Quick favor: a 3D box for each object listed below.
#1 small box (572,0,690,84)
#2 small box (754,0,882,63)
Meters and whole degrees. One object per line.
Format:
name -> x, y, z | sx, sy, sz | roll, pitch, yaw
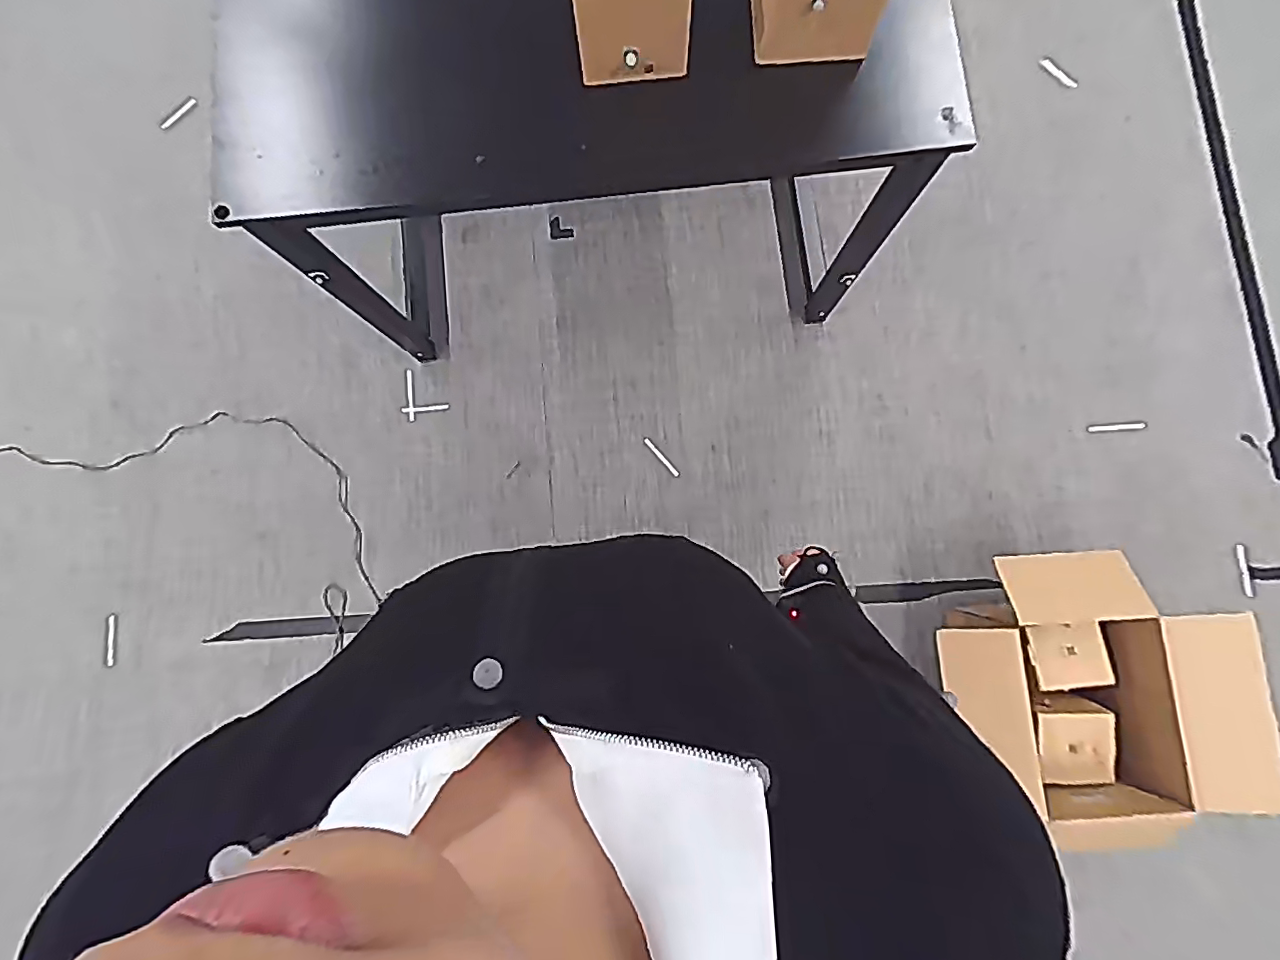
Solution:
small box -> -0.018, -0.733, 0.795 | 0.168, 0.176, 0.179 | -5, 84, 1
small box -> 0.263, -0.753, 0.791 | 0.179, 0.176, 0.168 | -2, 83, 2
